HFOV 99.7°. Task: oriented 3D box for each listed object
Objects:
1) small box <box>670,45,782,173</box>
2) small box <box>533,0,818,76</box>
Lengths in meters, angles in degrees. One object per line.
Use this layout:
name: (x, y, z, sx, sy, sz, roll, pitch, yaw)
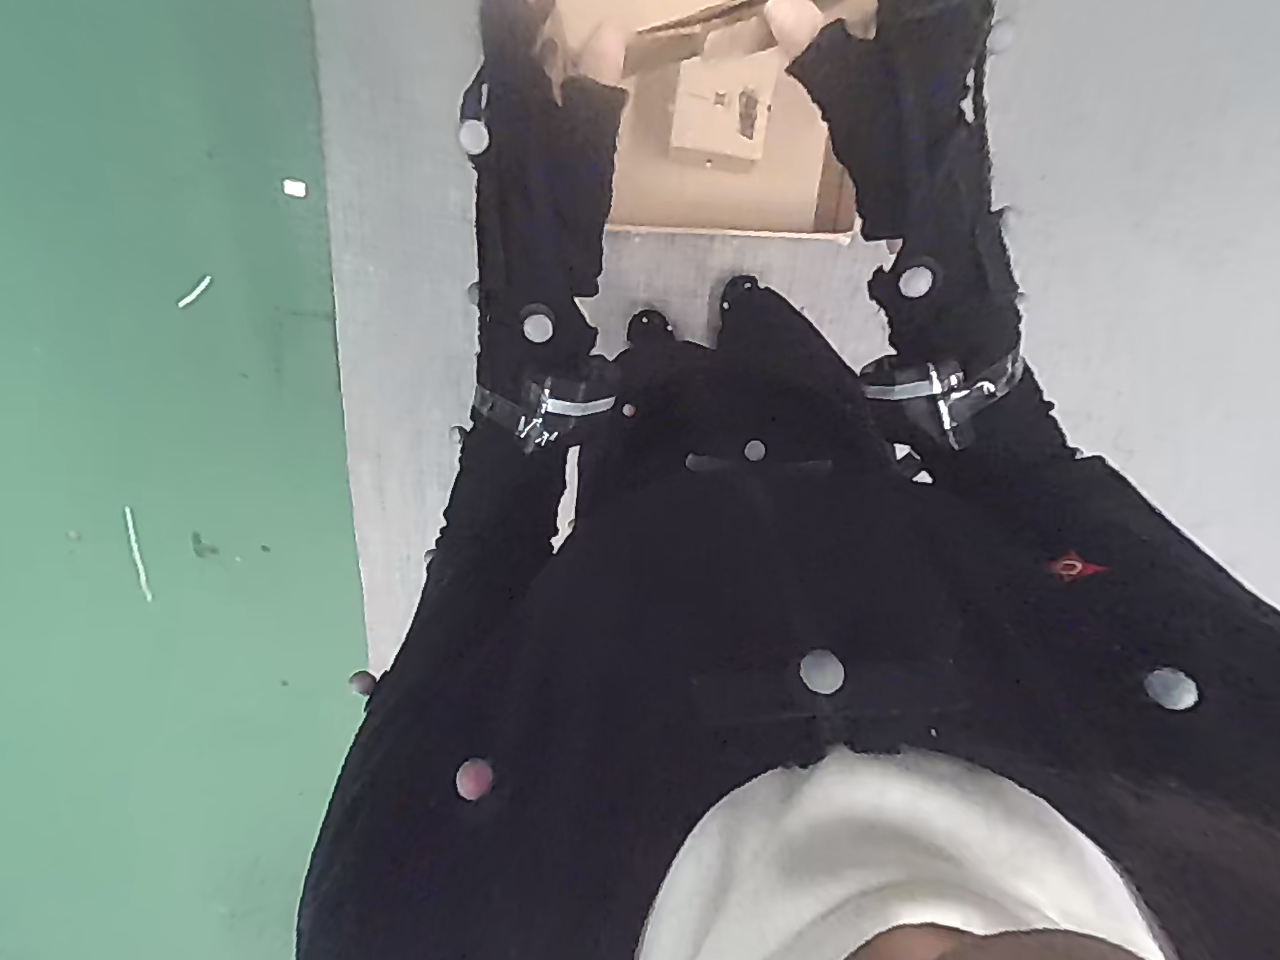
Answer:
small box: (0.162, -0.723, 1.068, 0.179, 0.176, 0.168, 11, 111, 1)
small box: (0.015, -0.323, 0.264, 0.168, 0.176, 0.179, -13, 121, 6)
